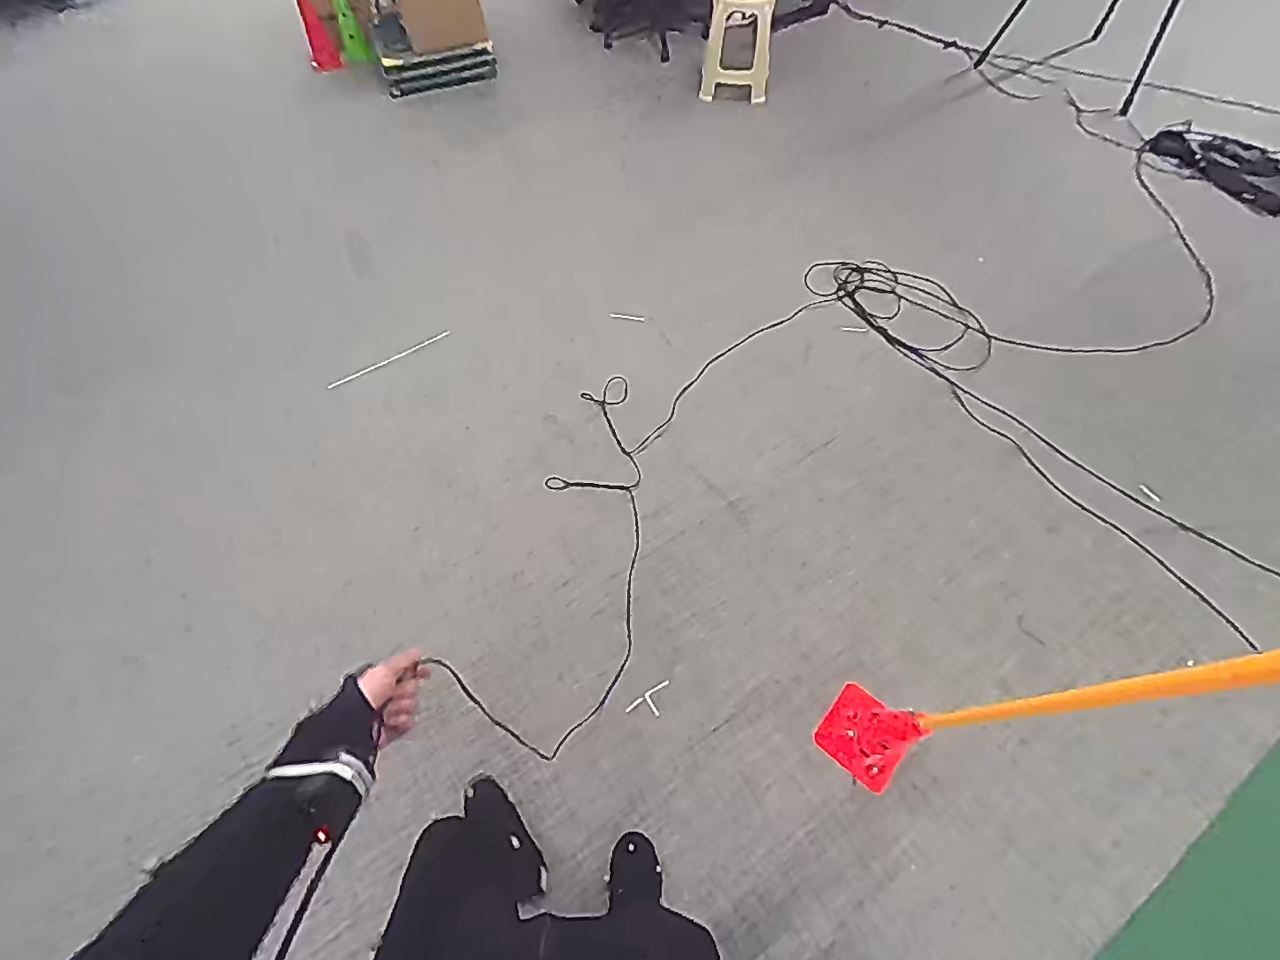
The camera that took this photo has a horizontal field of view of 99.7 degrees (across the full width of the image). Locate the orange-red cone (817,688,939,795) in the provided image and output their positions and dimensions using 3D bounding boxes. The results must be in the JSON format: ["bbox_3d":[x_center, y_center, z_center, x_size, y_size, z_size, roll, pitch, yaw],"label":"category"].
[{"bbox_3d":[0.582,0.584,1.244,0.198,0.360,0.199,38,67,19],"label":"orange-red cone"}]
